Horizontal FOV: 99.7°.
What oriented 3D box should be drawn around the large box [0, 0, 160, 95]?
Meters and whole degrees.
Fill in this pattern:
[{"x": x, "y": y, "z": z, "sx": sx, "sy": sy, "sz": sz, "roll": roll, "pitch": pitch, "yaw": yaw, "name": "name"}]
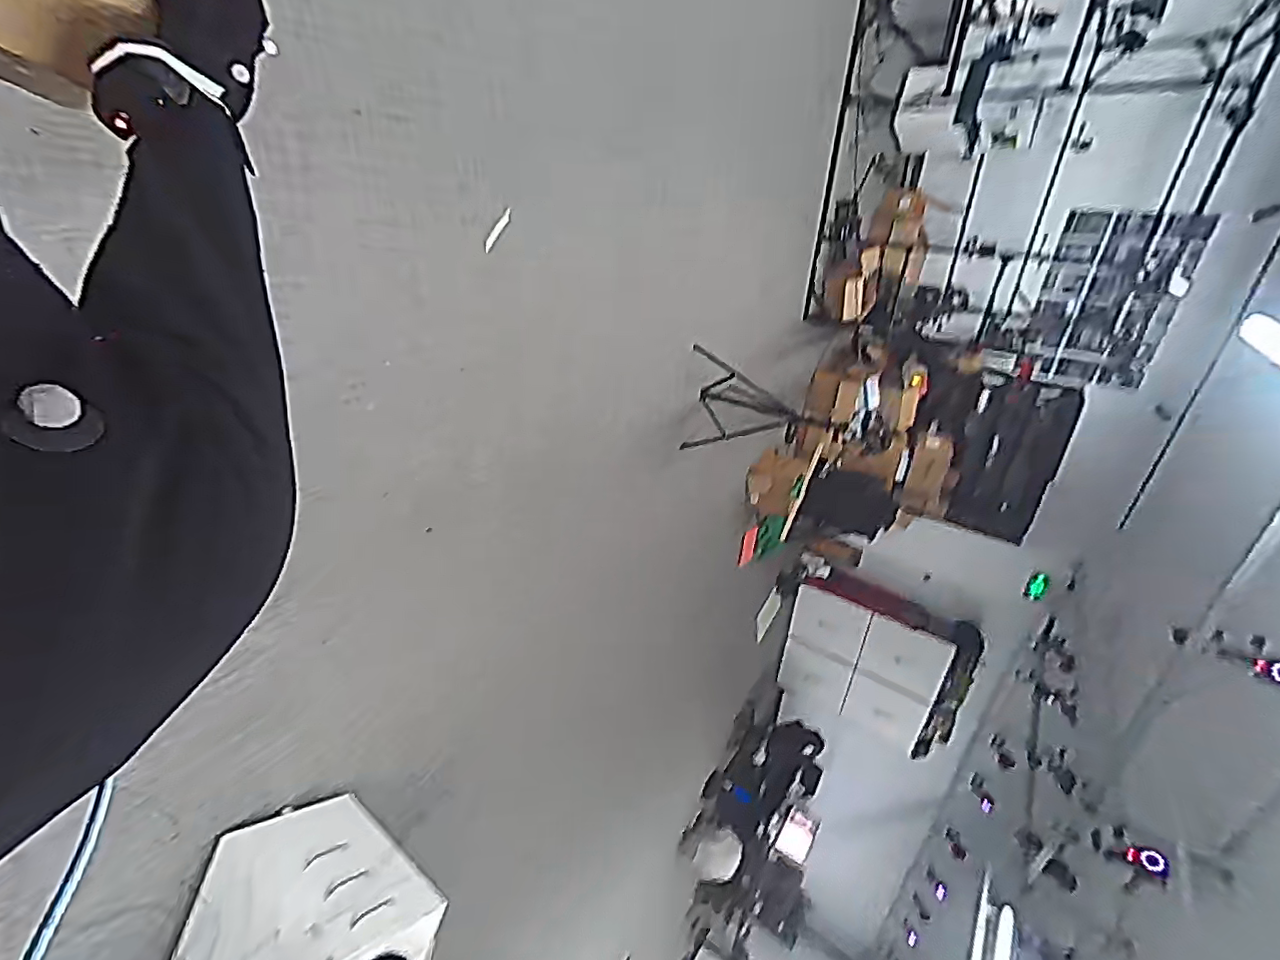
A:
[{"x": -0.596, "y": -0.538, "z": 0.350, "sx": 0.408, "sy": 0.320, "sz": 0.320, "roll": 9, "pitch": 107, "yaw": -58, "name": "large box"}]
